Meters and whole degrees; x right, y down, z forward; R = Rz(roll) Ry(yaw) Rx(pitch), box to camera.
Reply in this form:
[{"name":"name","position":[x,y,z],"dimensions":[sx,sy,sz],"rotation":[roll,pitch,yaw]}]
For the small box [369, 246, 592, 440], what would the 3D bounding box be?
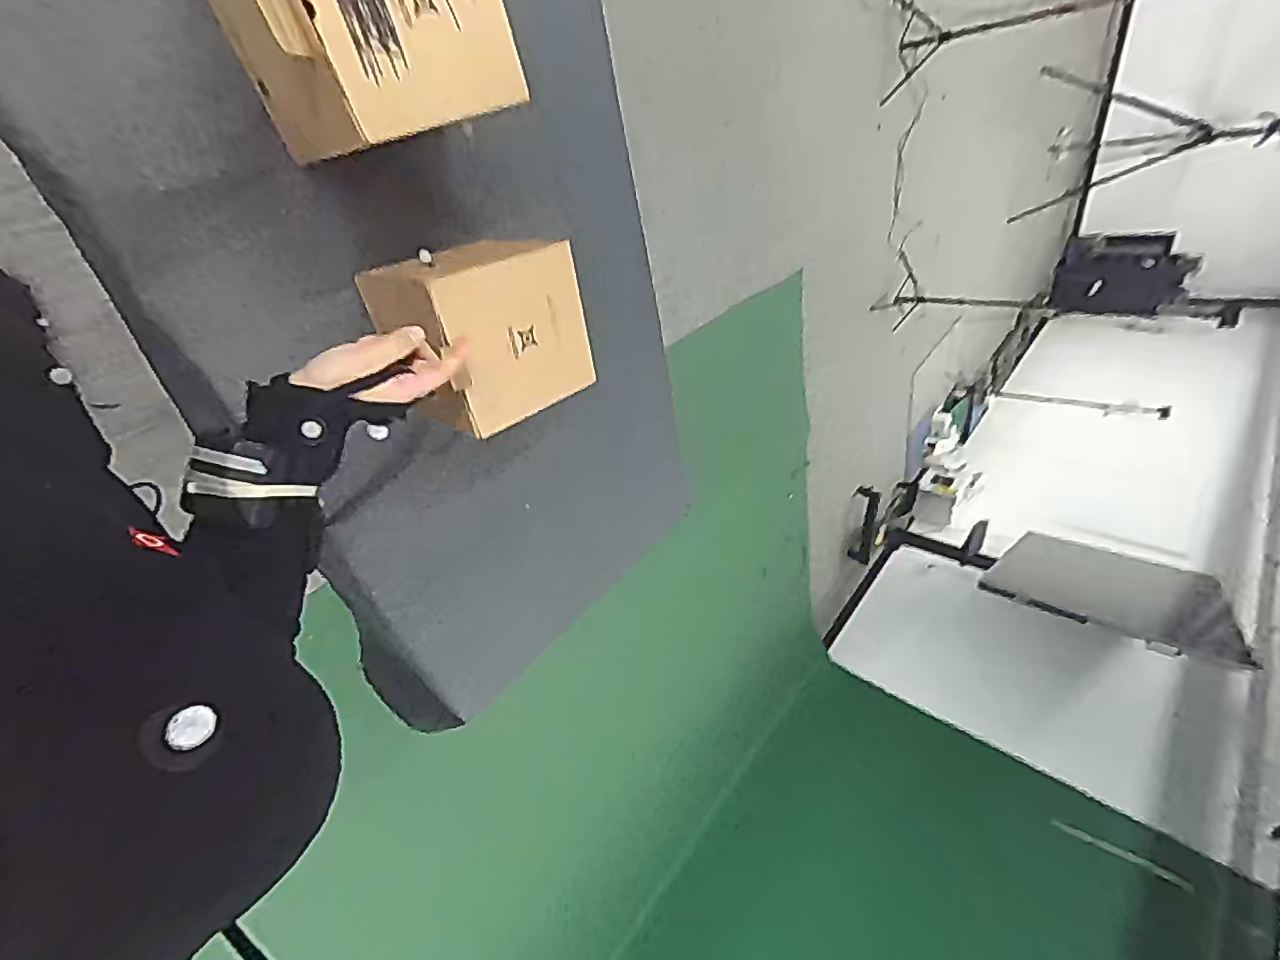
[{"name":"small box","position":[-0.187,-0.169,0.632],"dimensions":[0.179,0.176,0.168],"rotation":[-36,132,-36]}]
